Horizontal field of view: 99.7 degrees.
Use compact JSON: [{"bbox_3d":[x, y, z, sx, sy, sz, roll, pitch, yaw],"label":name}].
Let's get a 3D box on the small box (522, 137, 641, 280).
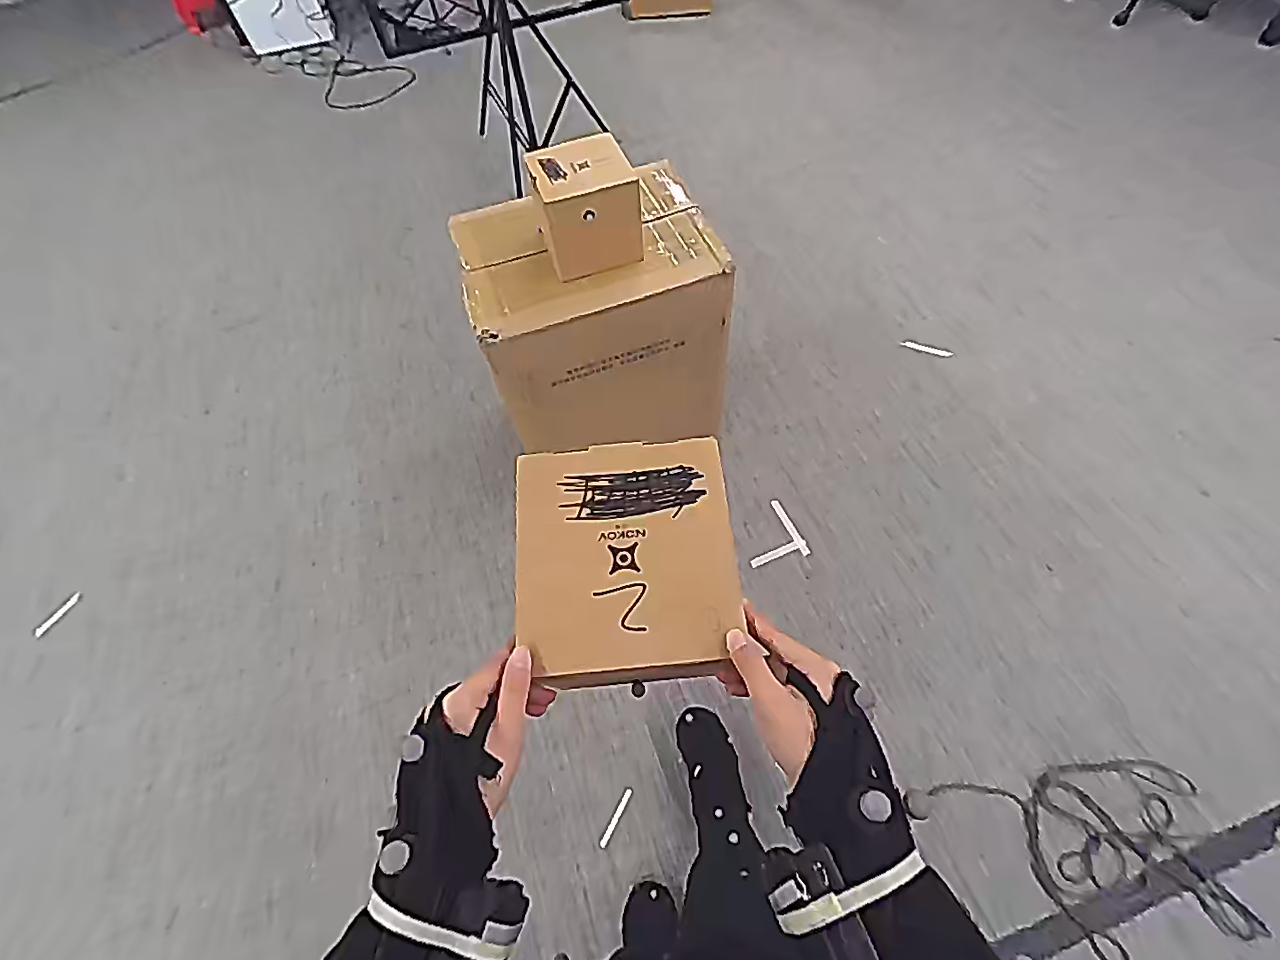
[{"bbox_3d":[-0.107,-0.515,1.040,0.179,0.176,0.168,-19,61,-7],"label":"small box"}]
